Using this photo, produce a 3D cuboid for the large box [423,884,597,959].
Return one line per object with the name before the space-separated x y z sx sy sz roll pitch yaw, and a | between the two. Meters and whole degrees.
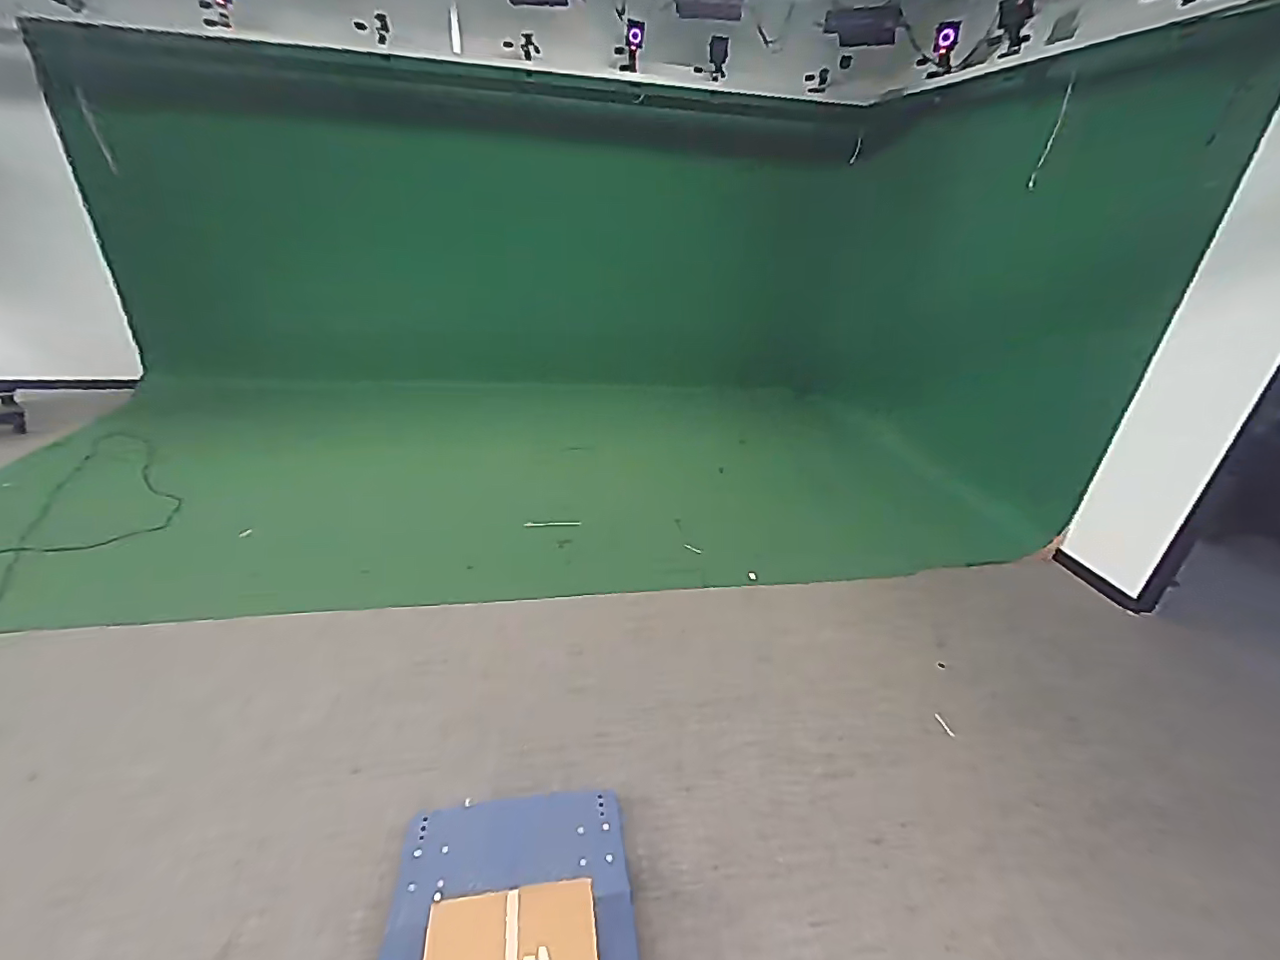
large box | -0.226 1.049 0.964 0.320 0.320 0.408 -1 26 -11
